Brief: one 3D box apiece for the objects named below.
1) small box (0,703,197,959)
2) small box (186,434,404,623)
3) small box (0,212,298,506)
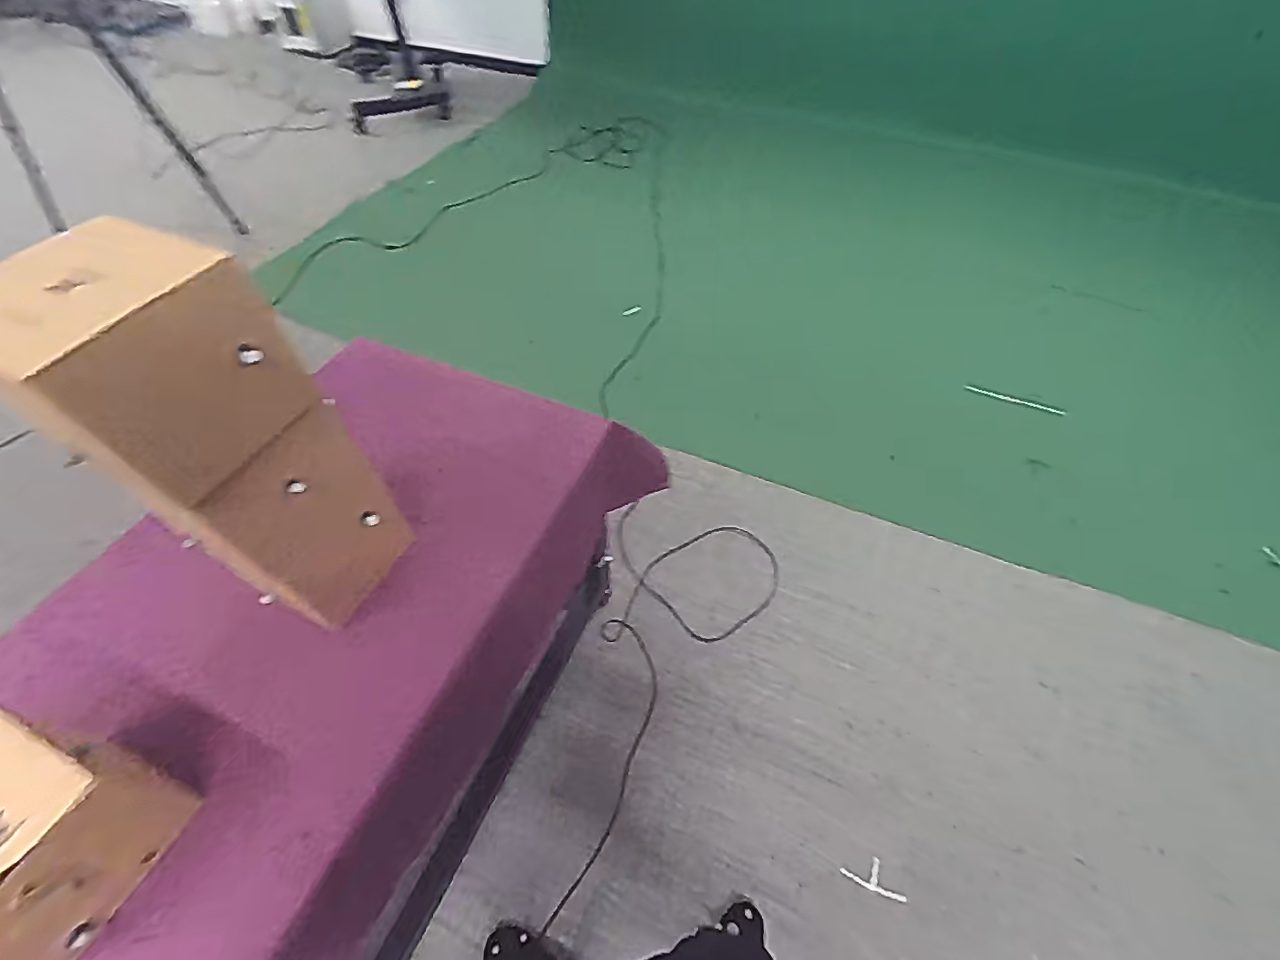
[{"bbox_3d":[-0.628,0.360,0.559,0.179,0.176,0.168,20,55,14],"label":"small box"},{"bbox_3d":[-0.468,0.071,0.773,0.168,0.176,0.179,21,56,14],"label":"small box"},{"bbox_3d":[-0.459,-0.109,0.498,0.168,0.176,0.179,20,56,14],"label":"small box"}]
